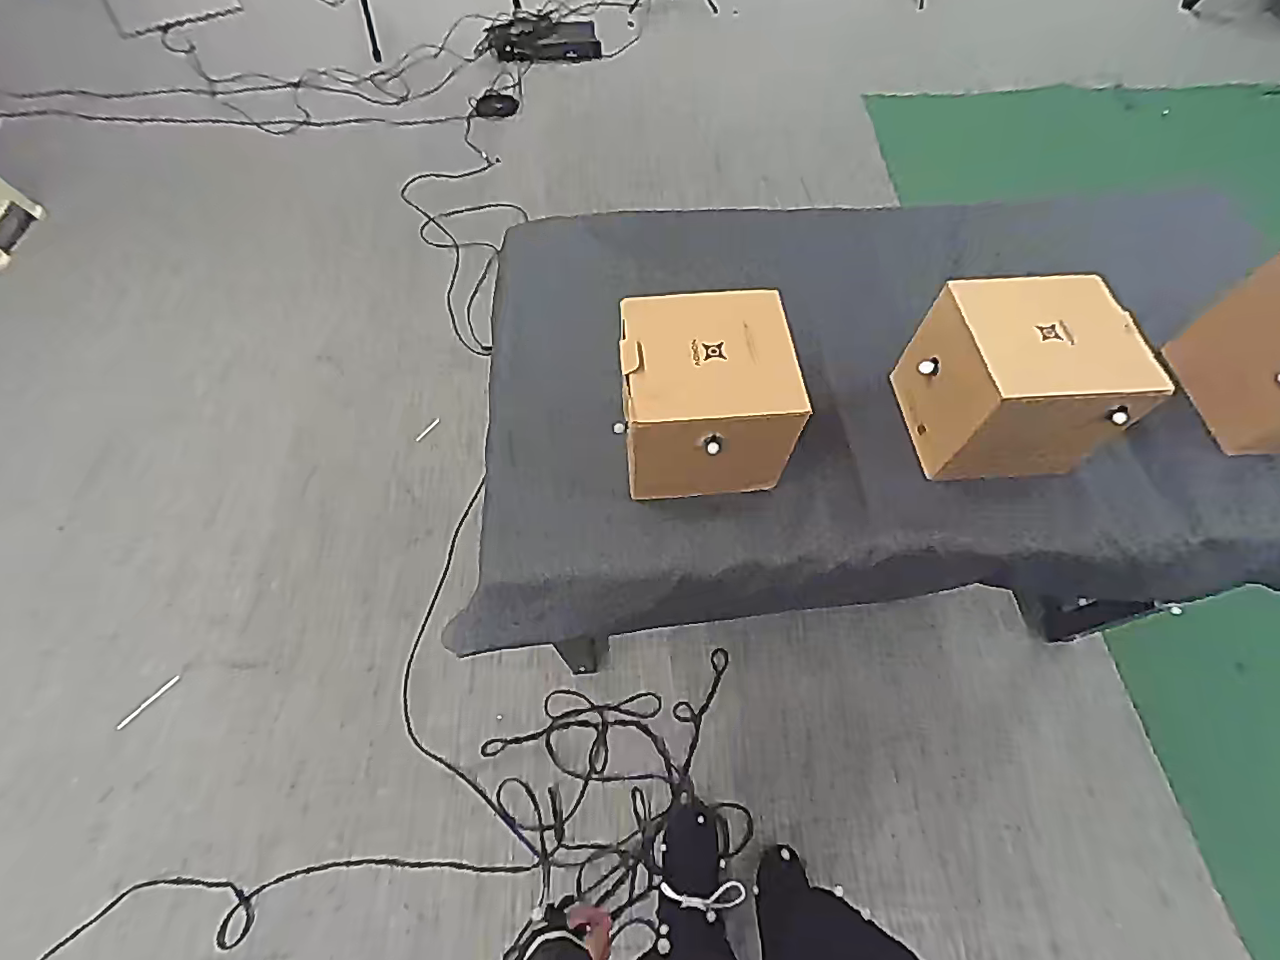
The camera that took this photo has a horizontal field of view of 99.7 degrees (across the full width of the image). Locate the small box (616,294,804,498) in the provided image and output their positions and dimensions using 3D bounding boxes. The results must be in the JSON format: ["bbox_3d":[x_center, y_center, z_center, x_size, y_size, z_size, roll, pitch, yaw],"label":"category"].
[{"bbox_3d":[0.066,-0.088,0.618,0.179,0.176,0.168,-3,62,-3],"label":"small box"}]

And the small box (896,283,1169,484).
[{"bbox_3d":[0.424,-0.105,0.630,0.179,0.176,0.168,-3,60,-2],"label":"small box"}]
